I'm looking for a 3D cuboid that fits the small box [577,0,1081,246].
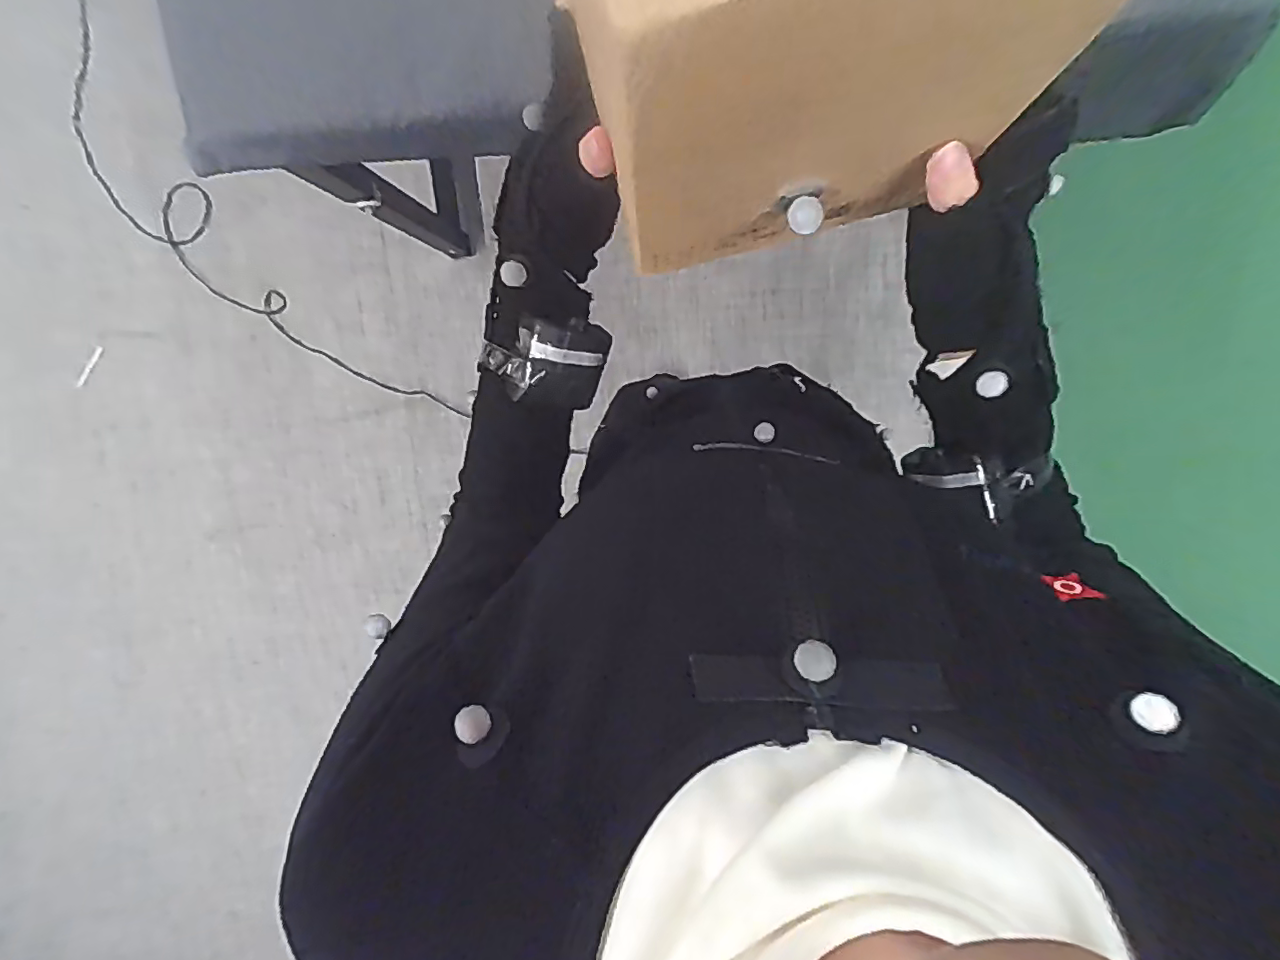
[{"bbox_3d":[0.055,-0.229,0.219,0.168,0.176,0.179,-14,91,3],"label":"small box"}]
